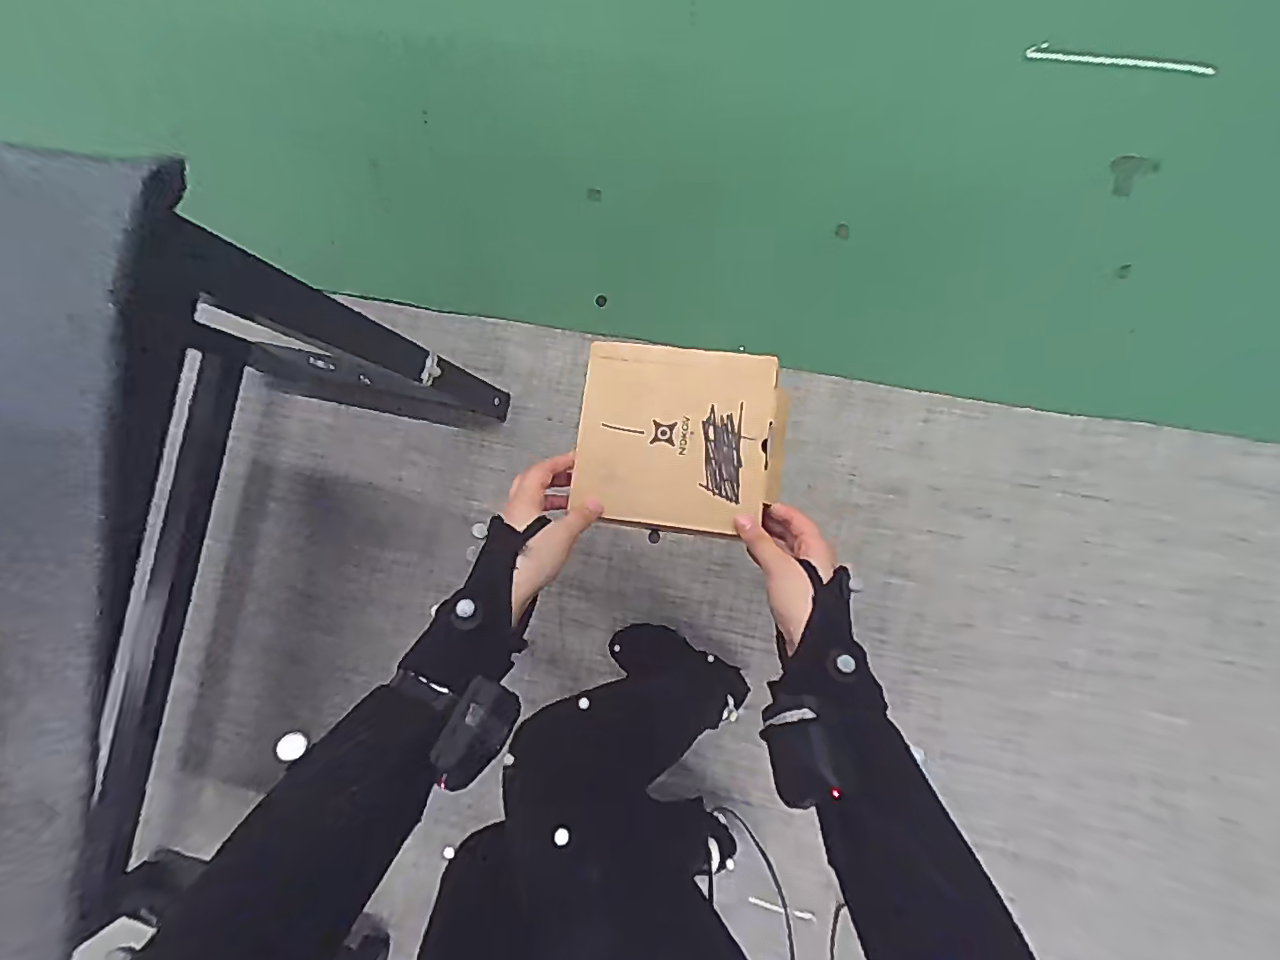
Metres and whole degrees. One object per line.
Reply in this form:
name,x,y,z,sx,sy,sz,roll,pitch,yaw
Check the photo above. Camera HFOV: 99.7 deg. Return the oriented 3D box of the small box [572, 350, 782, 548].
small box,0.041,-0.023,0.572,0.179,0.176,0.168,7,84,7
